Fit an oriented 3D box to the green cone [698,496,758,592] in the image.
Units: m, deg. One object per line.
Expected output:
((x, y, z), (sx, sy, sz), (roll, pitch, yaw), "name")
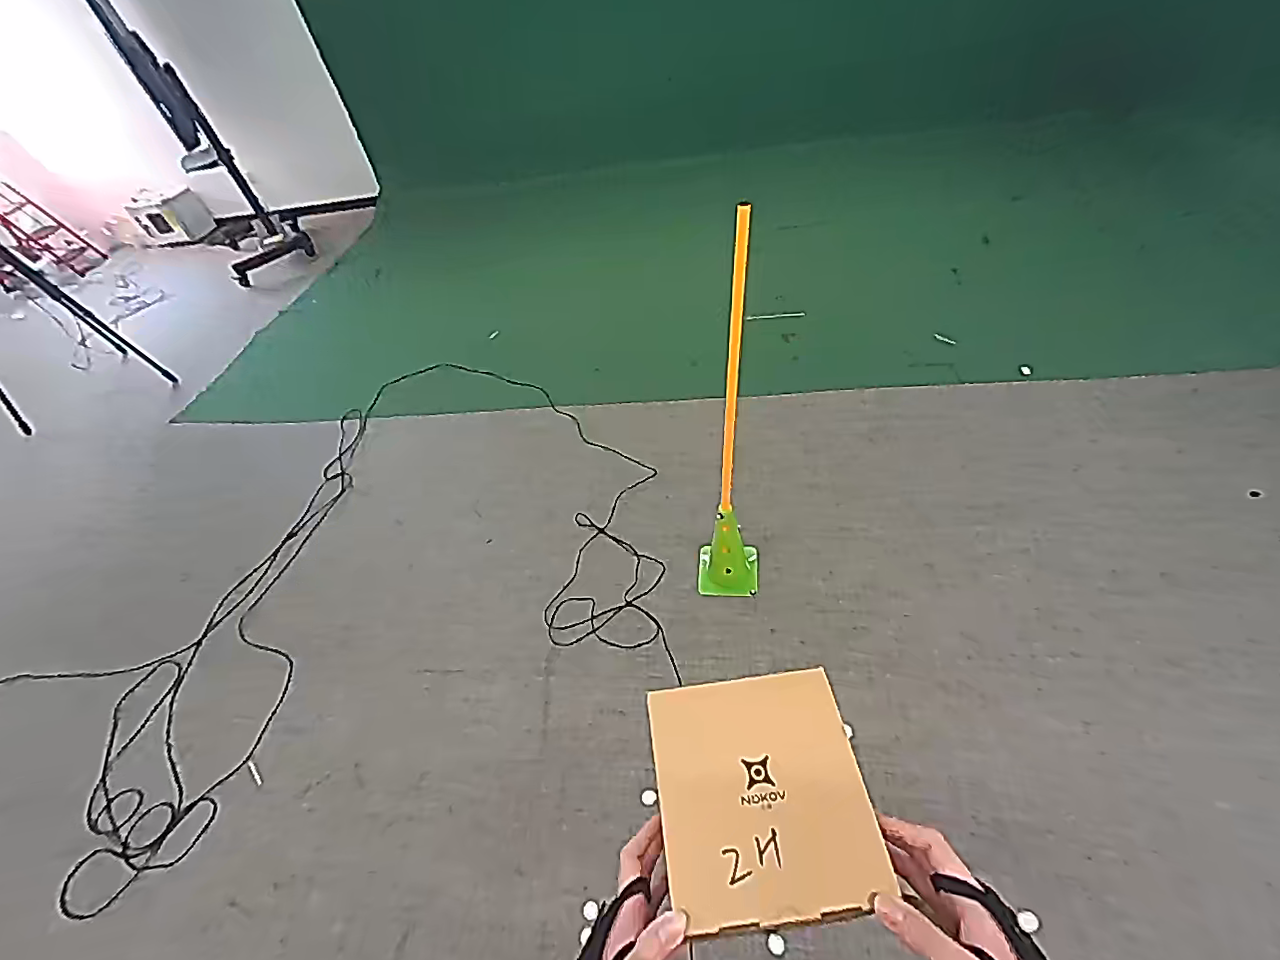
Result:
((0.275, 0.181, 1.741), (0.202, 0.368, 0.200), (-1, 47, 11), "green cone")
